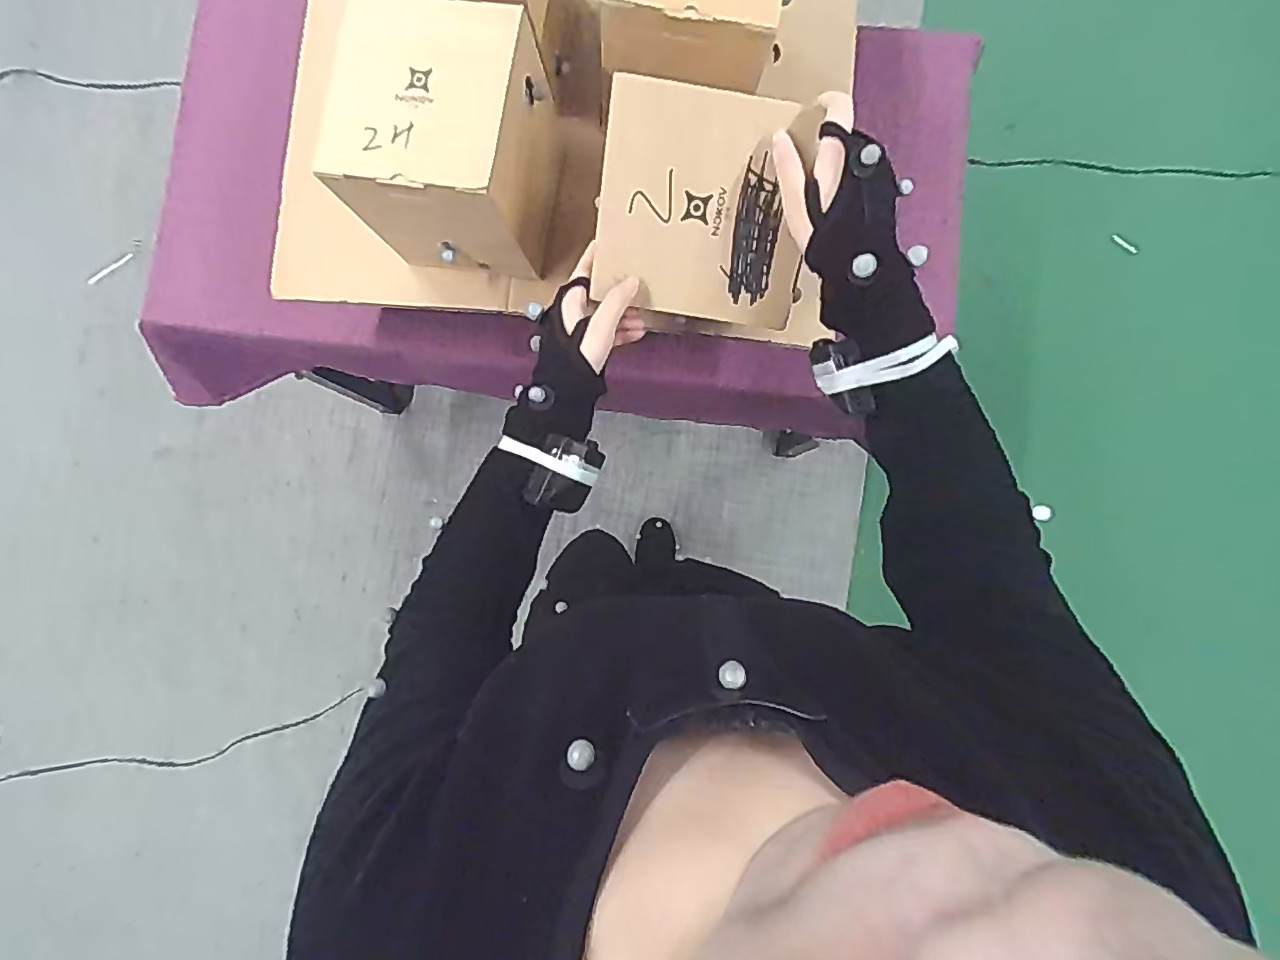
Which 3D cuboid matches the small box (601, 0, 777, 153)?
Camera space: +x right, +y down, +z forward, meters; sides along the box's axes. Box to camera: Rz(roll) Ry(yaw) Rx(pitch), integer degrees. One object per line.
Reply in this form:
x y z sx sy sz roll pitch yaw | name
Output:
0.049 -0.500 0.583 0.168 0.176 0.179 8 86 -3 | small box
